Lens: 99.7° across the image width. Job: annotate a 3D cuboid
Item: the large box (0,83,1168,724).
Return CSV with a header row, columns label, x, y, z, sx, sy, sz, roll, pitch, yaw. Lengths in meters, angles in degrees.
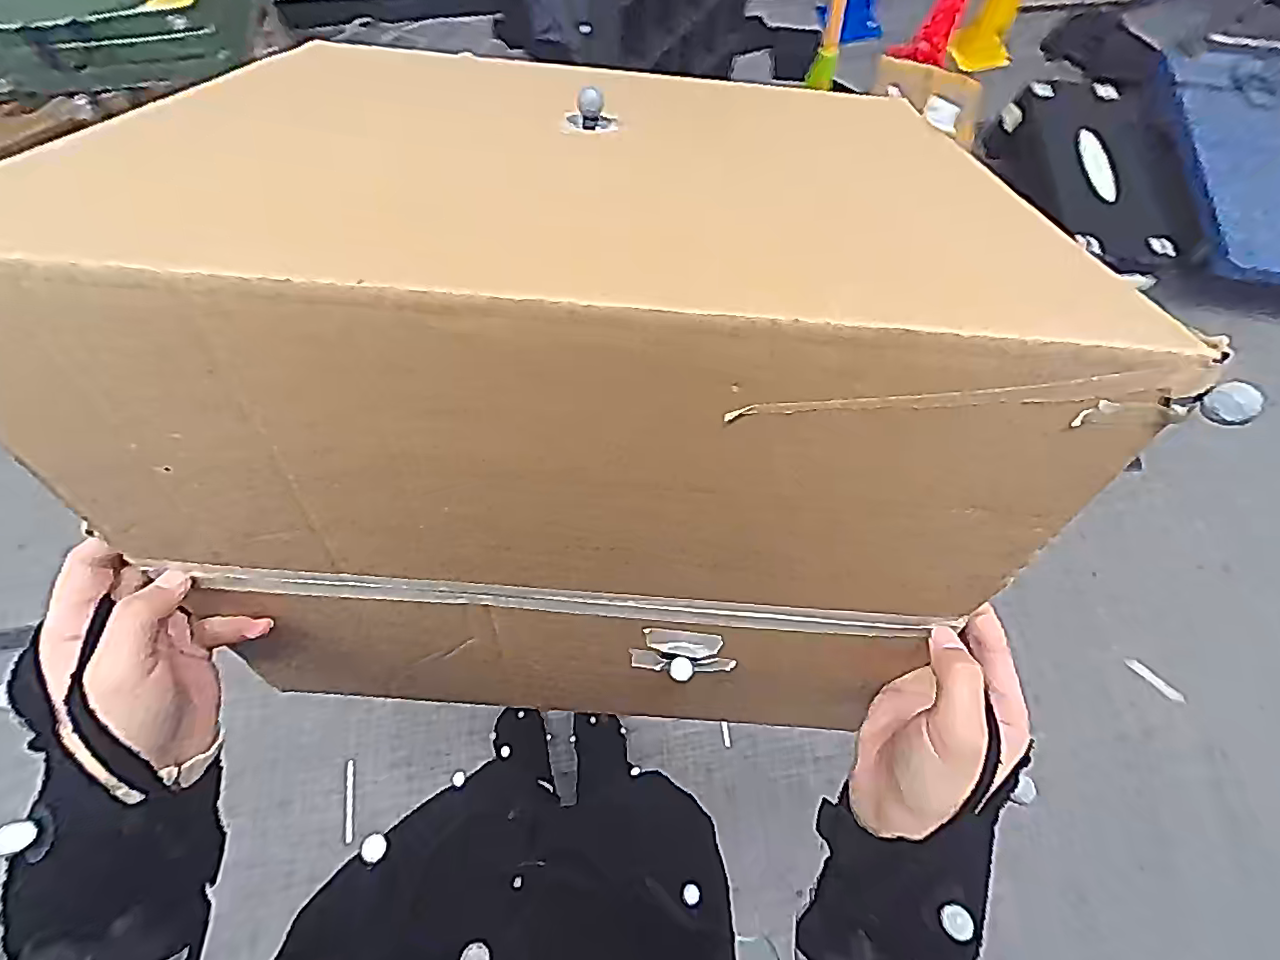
label,x,y,z,sx,sy,sz,roll,pitch,yaw
large box,-0.033,-0.052,0.378,0.408,0.320,0.320,4,48,-1
